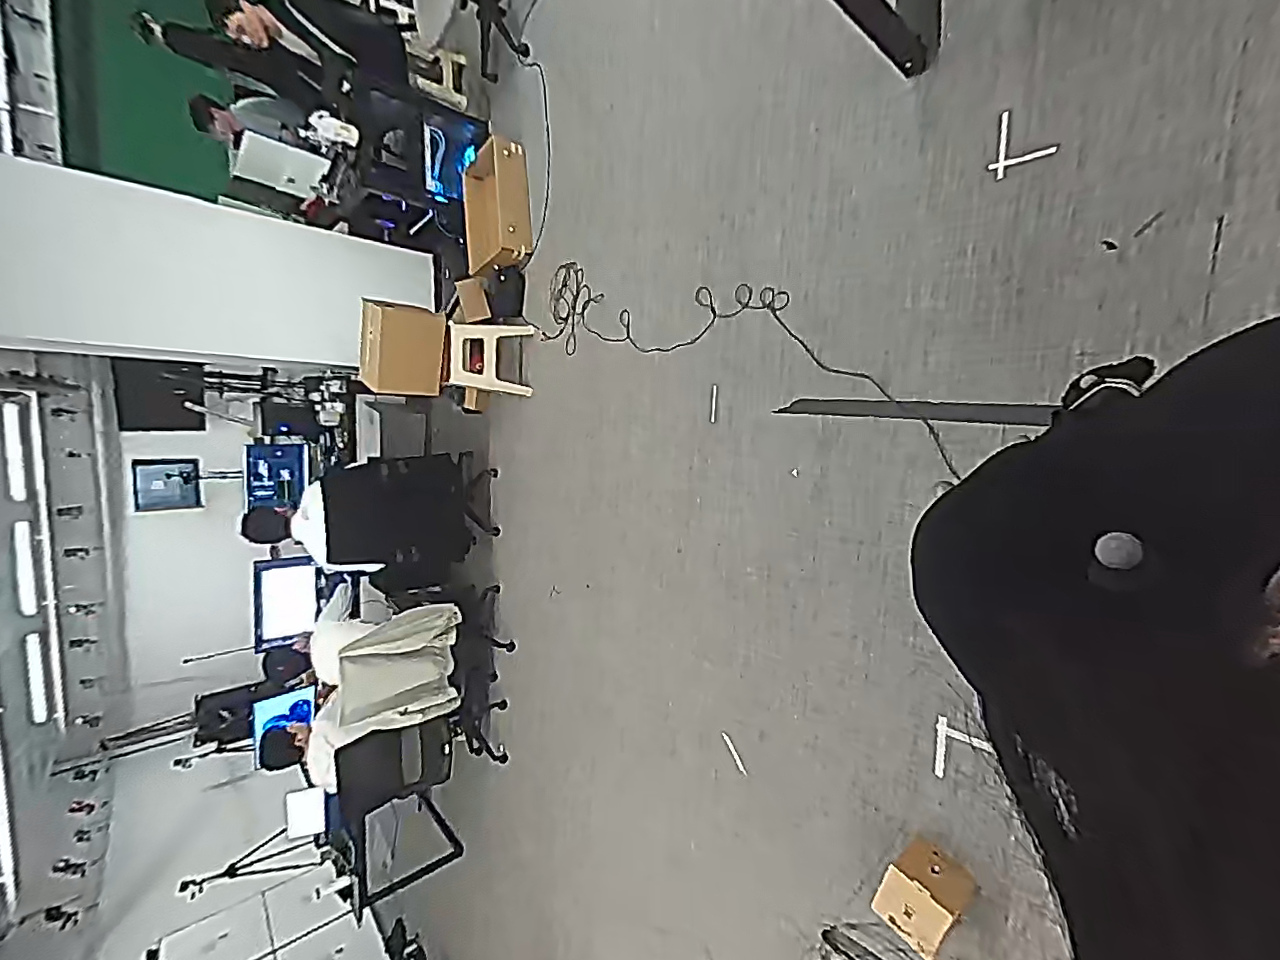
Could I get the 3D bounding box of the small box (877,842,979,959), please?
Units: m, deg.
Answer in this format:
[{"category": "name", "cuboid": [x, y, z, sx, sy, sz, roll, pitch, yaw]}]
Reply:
[{"category": "small box", "cuboid": [0.772, 1.122, 1.444, 0.168, 0.176, 0.179, 30, 114, 45]}]
